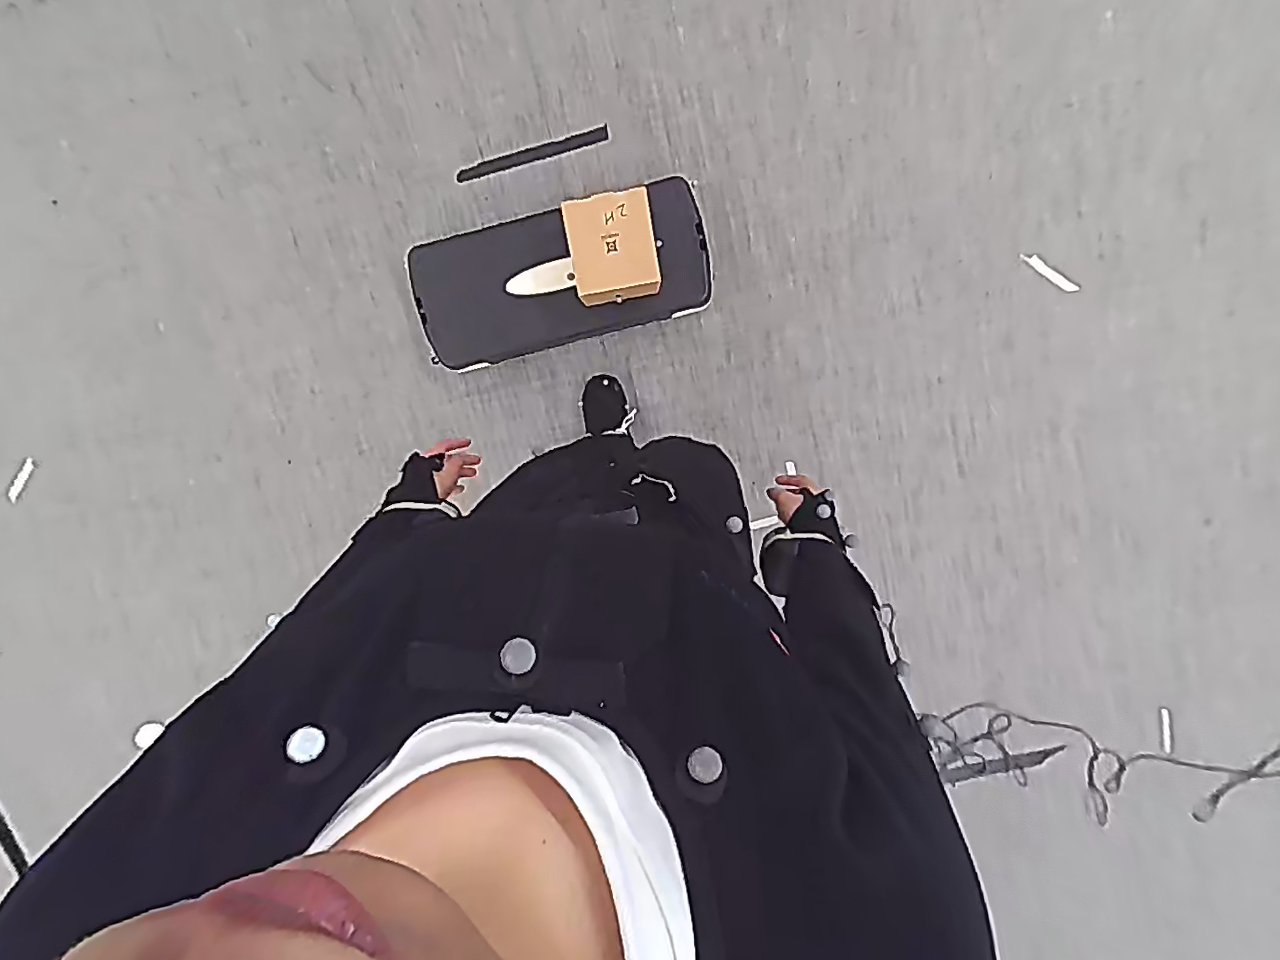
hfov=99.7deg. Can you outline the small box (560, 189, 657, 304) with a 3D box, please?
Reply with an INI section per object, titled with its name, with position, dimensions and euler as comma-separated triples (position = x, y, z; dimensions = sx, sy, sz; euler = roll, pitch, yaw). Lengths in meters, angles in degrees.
[small box]
position = -0.058, -0.466, 1.108
dimensions = 0.168, 0.176, 0.179
euler = -10, 101, 1
